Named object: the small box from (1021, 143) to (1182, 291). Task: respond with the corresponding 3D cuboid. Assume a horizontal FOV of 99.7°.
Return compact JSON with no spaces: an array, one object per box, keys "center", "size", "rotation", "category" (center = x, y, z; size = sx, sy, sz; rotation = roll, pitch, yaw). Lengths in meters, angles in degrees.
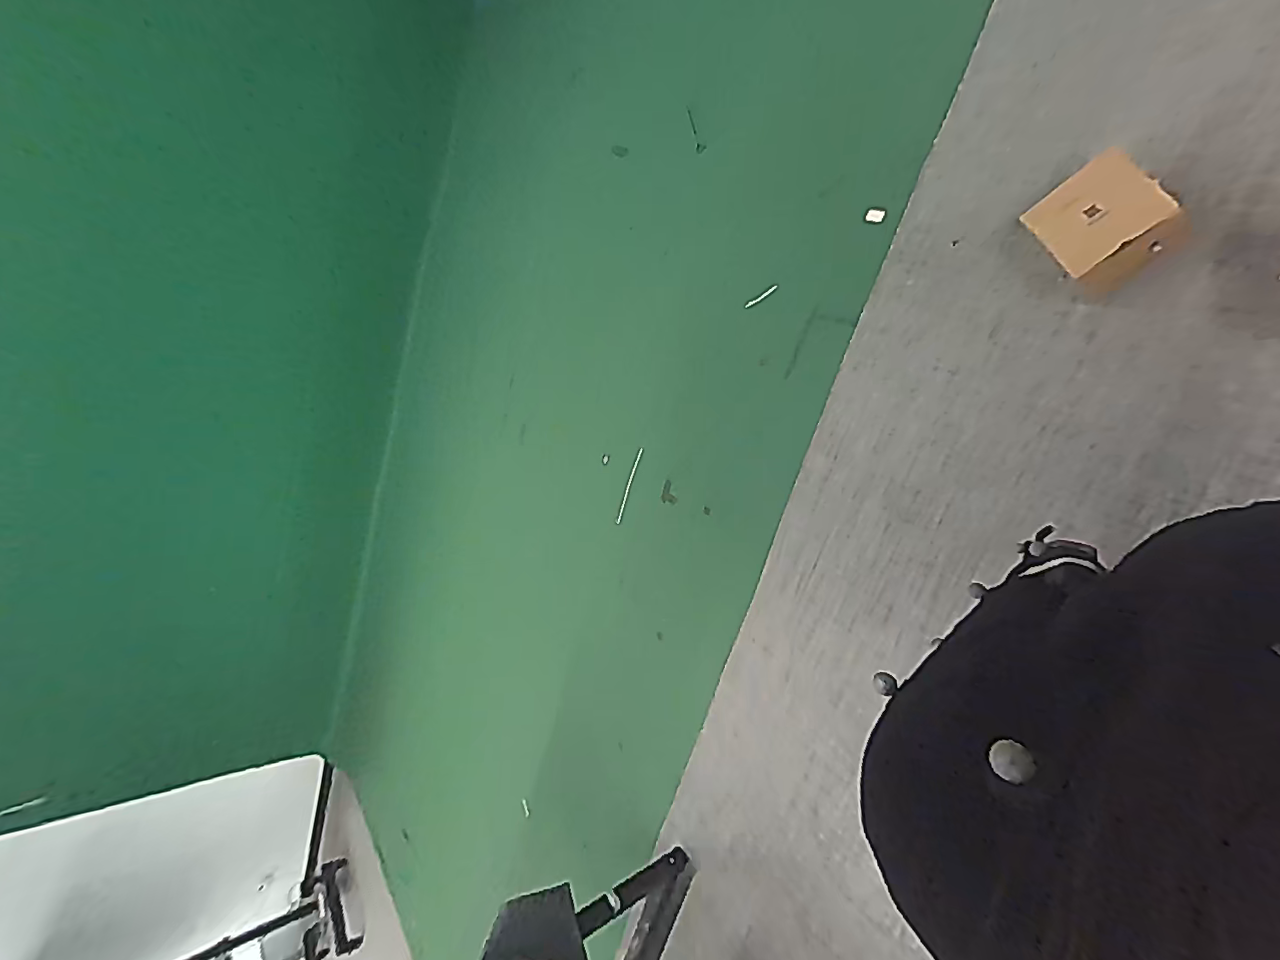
[{"center":[0.881,-0.486,1.031],"size":[0.168,0.176,0.179],"rotation":[-41,59,36],"category":"small box"}]
